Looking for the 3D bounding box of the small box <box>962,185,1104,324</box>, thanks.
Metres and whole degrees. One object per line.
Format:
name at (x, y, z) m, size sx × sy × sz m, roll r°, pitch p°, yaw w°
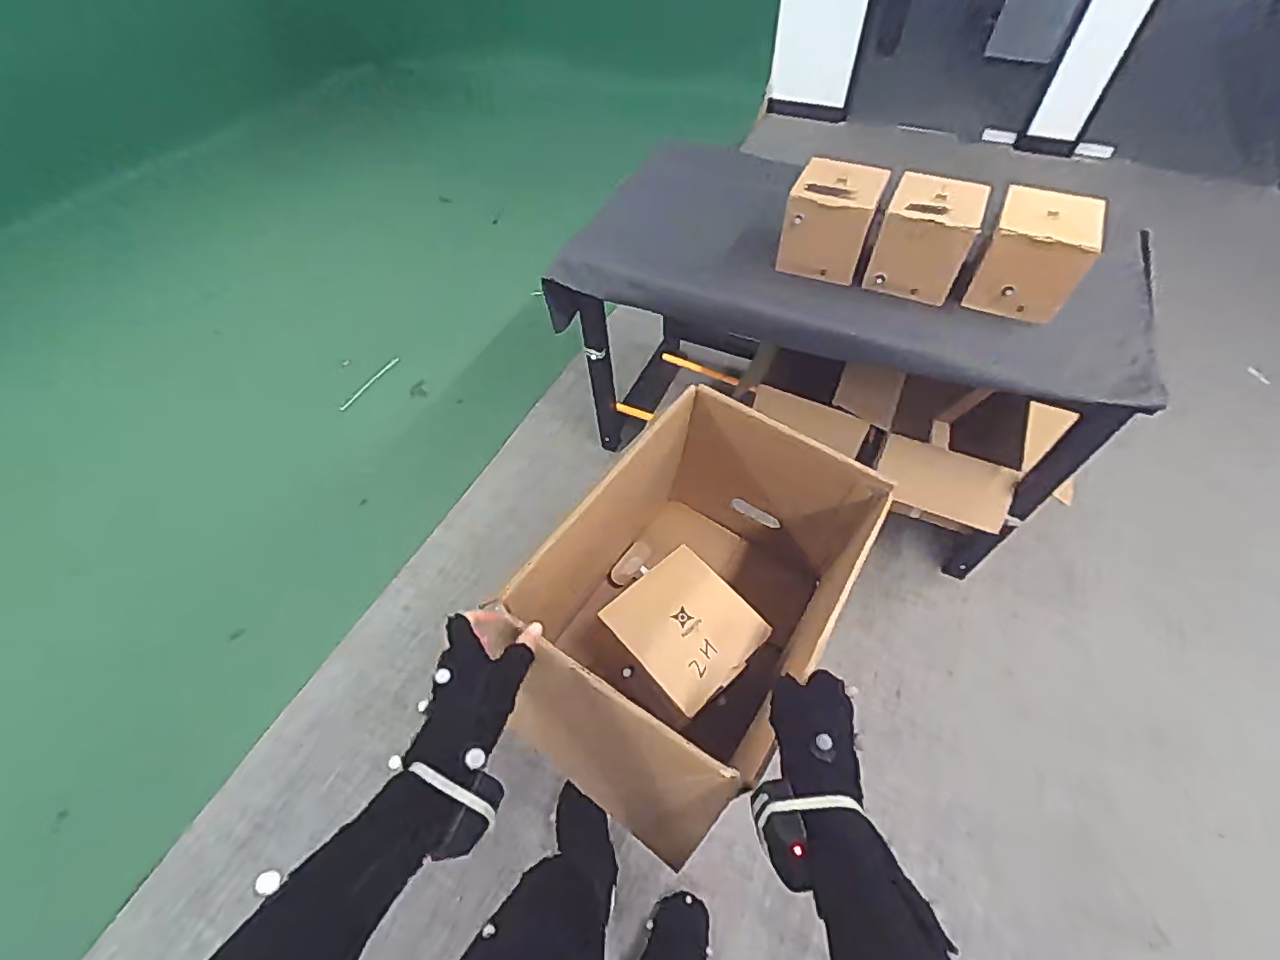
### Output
small box at (0.762, -0.440, 1.060) m, size 0.168 × 0.176 × 0.179 m, roll 21°, pitch 59°, yaw 17°
